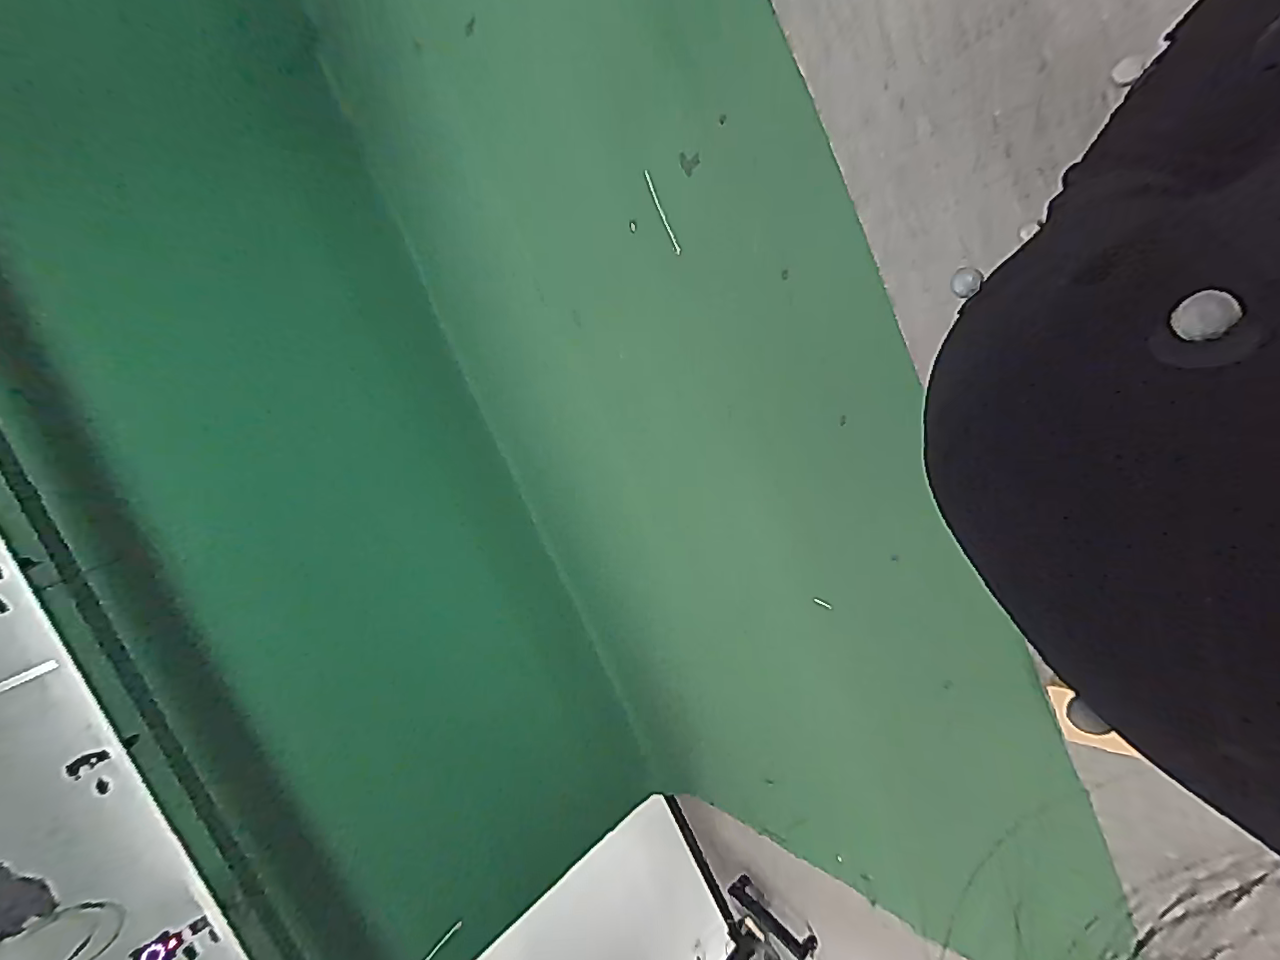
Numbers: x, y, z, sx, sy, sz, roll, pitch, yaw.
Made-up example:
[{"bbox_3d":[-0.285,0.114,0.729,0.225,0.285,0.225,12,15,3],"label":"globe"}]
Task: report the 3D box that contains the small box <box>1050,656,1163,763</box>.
[{"bbox_3d":[1.197,0.577,1.388,0.168,0.176,0.179,-13,103,57],"label":"small box"}]
